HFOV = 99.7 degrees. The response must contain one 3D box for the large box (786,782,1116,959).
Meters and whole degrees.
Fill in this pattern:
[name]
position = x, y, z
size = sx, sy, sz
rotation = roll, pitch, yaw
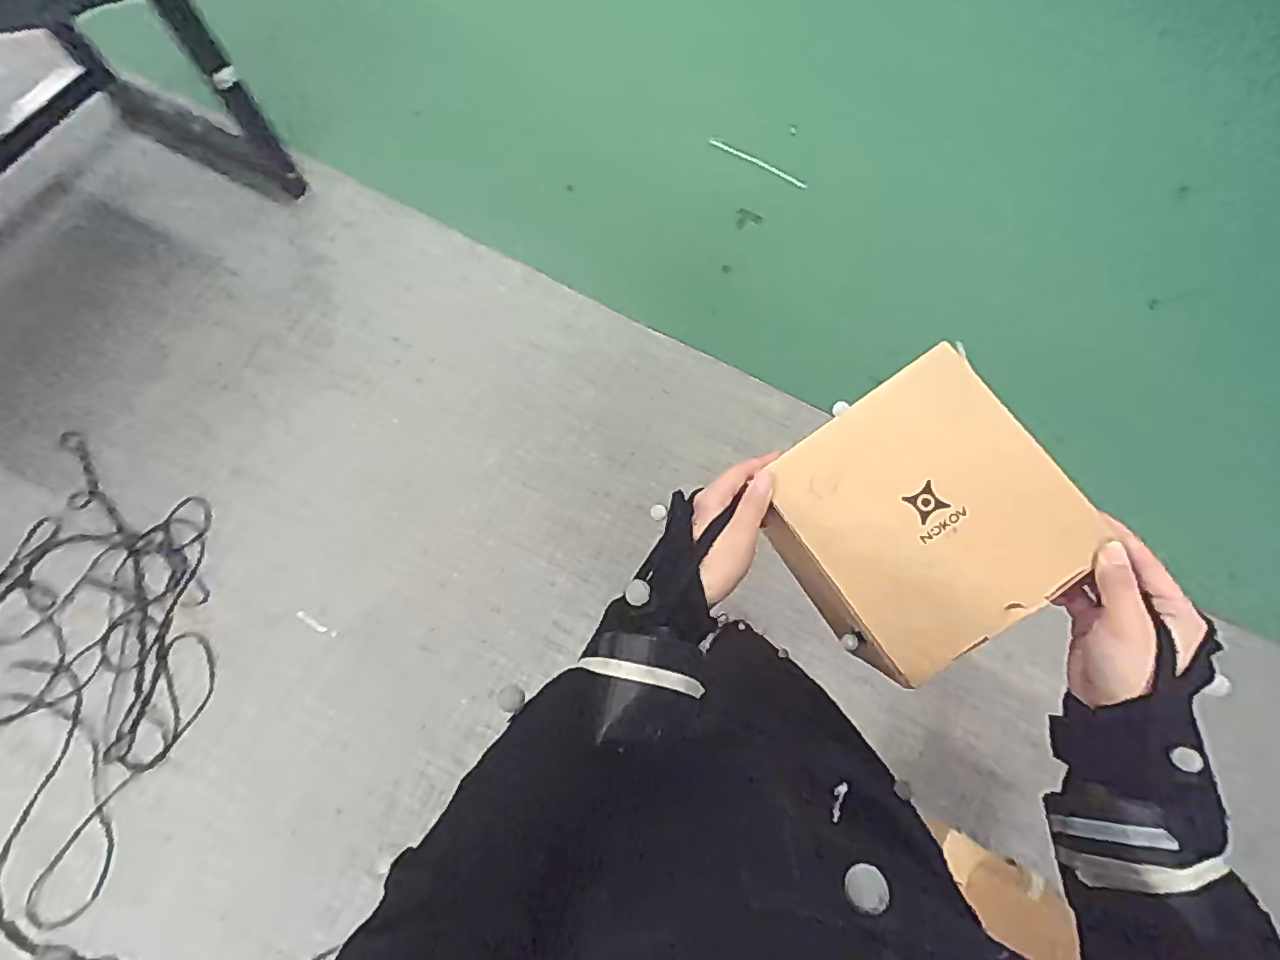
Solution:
[large box]
position = 0.509, 0.840, 0.950
size = 0.320, 0.320, 0.408
rotation = 31, 75, 5
